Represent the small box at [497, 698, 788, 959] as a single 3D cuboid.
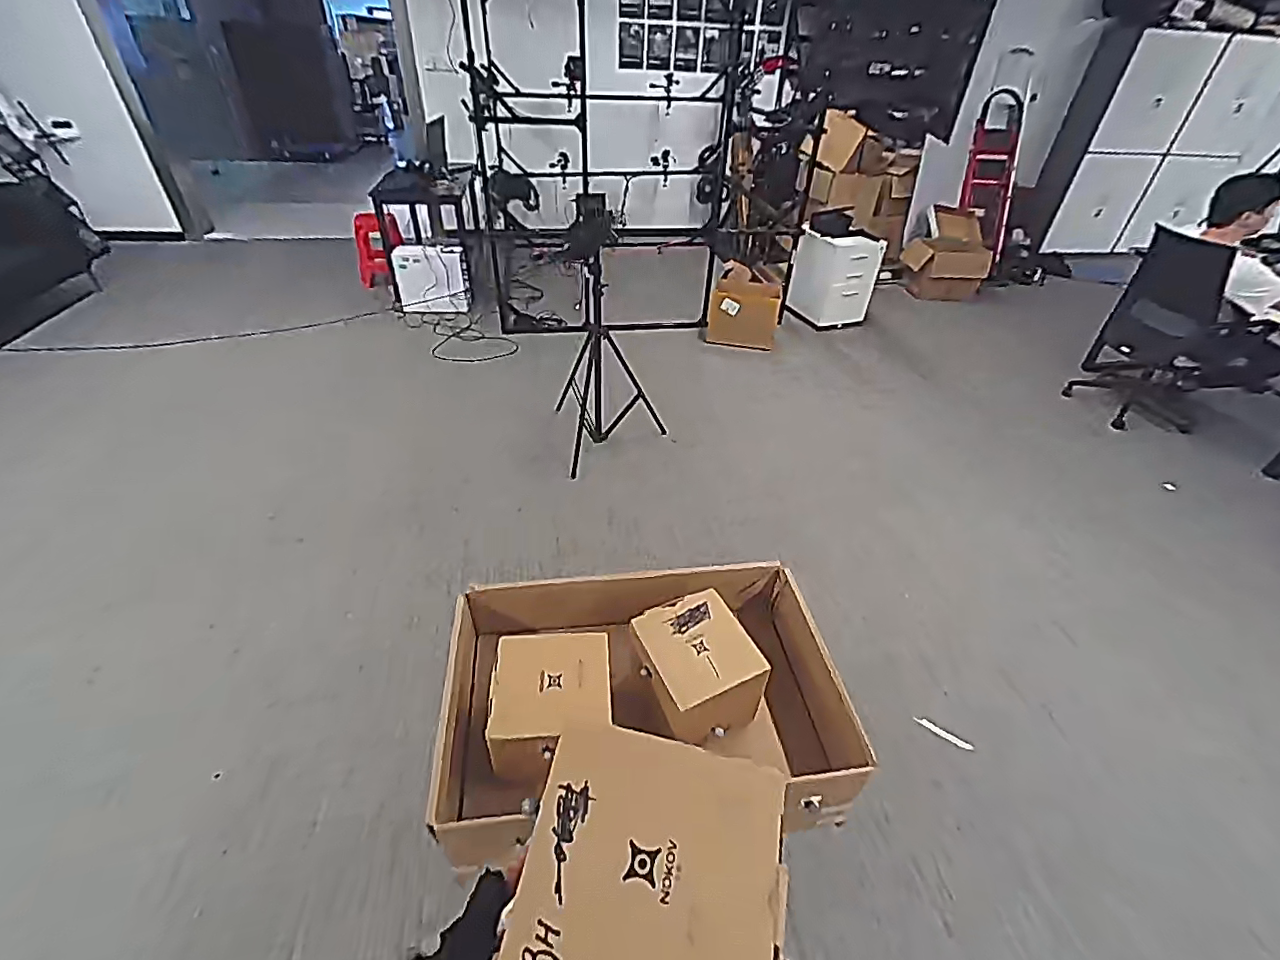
[{"bbox_3d":[0.004,0.300,0.436,0.179,0.176,0.168,13,52,2],"label":"small box"}]
